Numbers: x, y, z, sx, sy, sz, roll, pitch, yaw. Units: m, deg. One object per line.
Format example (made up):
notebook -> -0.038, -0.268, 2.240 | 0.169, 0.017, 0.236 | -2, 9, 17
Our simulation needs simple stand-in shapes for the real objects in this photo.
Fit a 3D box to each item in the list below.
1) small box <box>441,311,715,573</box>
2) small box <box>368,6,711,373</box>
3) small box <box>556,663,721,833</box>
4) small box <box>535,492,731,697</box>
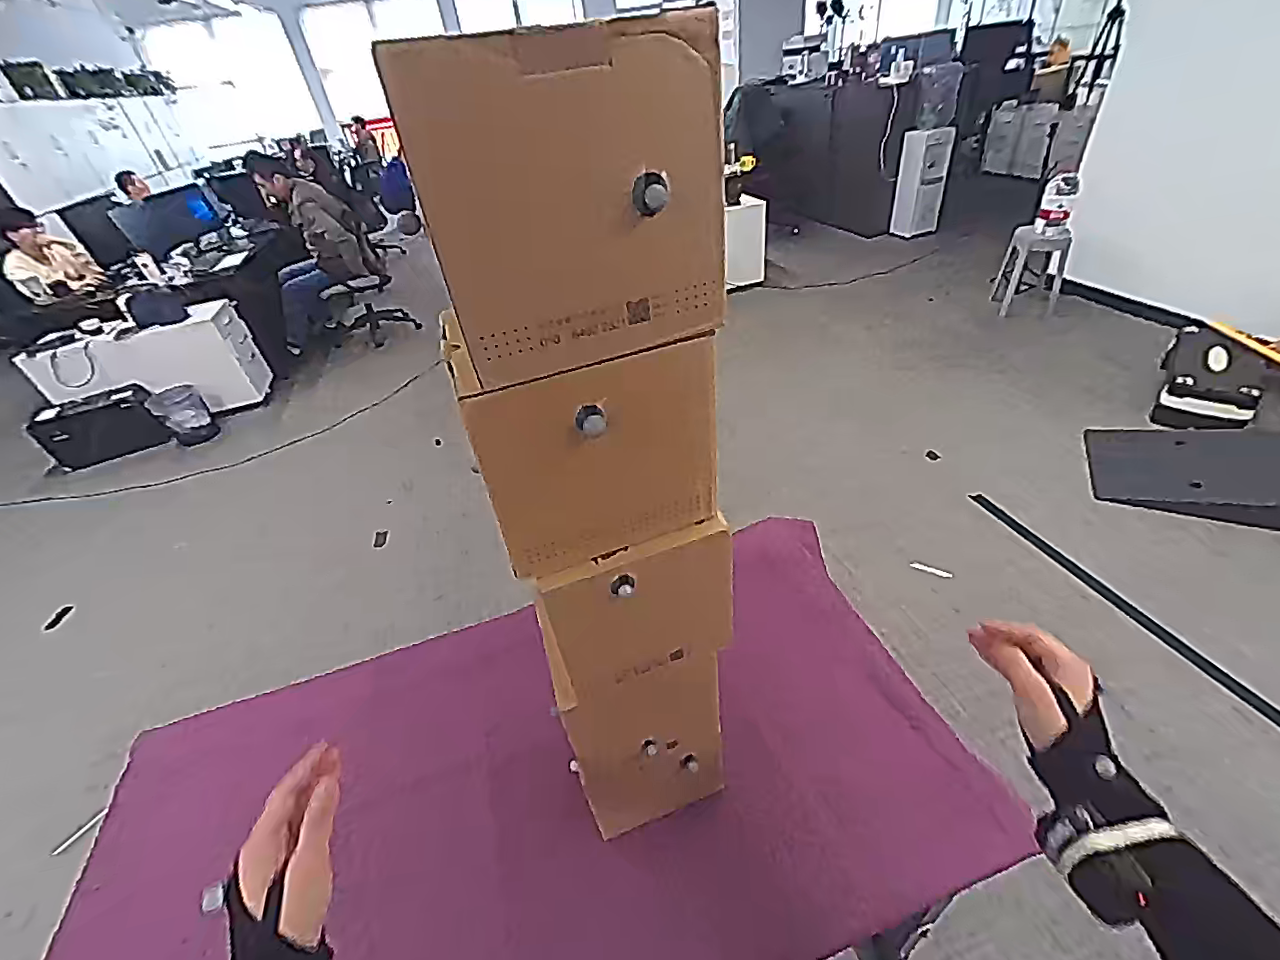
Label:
small box -> -0.049, -0.053, 0.454 | 0.179, 0.176, 0.168 | -18, 39, -12
small box -> -0.061, -0.185, 0.359 | 0.168, 0.176, 0.179 | -18, 38, -14
small box -> 0.000, 0.341, 0.741 | 0.179, 0.176, 0.168 | -18, 38, -11
small box -> -0.020, 0.079, 0.545 | 0.168, 0.176, 0.179 | -17, 38, -11
